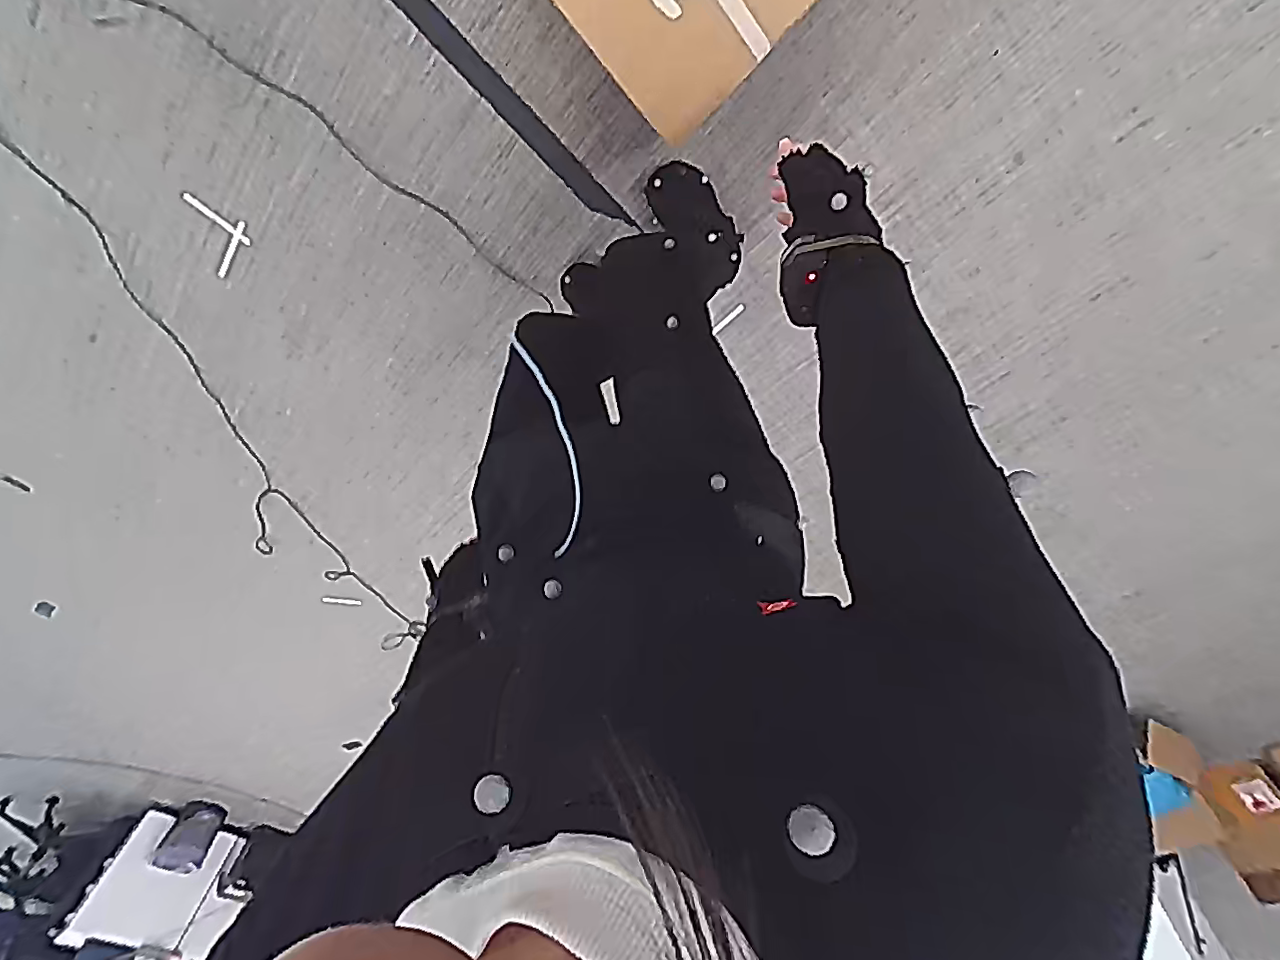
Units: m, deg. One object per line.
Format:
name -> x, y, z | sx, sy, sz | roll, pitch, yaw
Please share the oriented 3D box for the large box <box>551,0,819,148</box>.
large box -> 0.029, -0.753, 0.730 | 0.320, 0.320, 0.408 | -36, 119, 28
